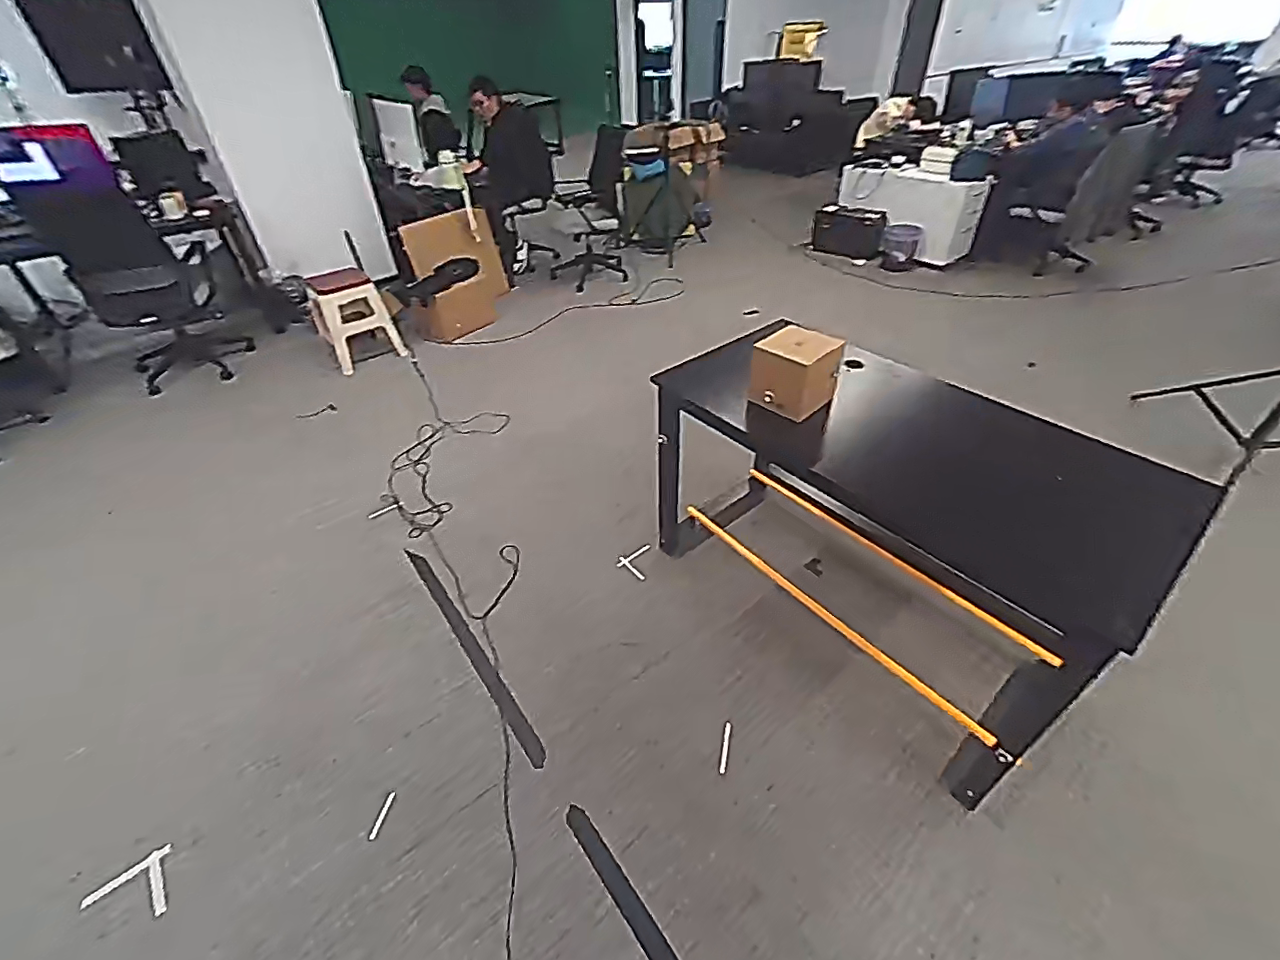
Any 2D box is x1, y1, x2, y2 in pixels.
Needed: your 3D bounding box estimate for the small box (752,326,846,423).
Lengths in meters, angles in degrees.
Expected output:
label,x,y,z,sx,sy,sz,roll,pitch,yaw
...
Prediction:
label,x,y,z,sx,sy,sz,roll,pitch,yaw
small box,0.410,-0.279,1.425,0.179,0.176,0.168,-34,48,-31
